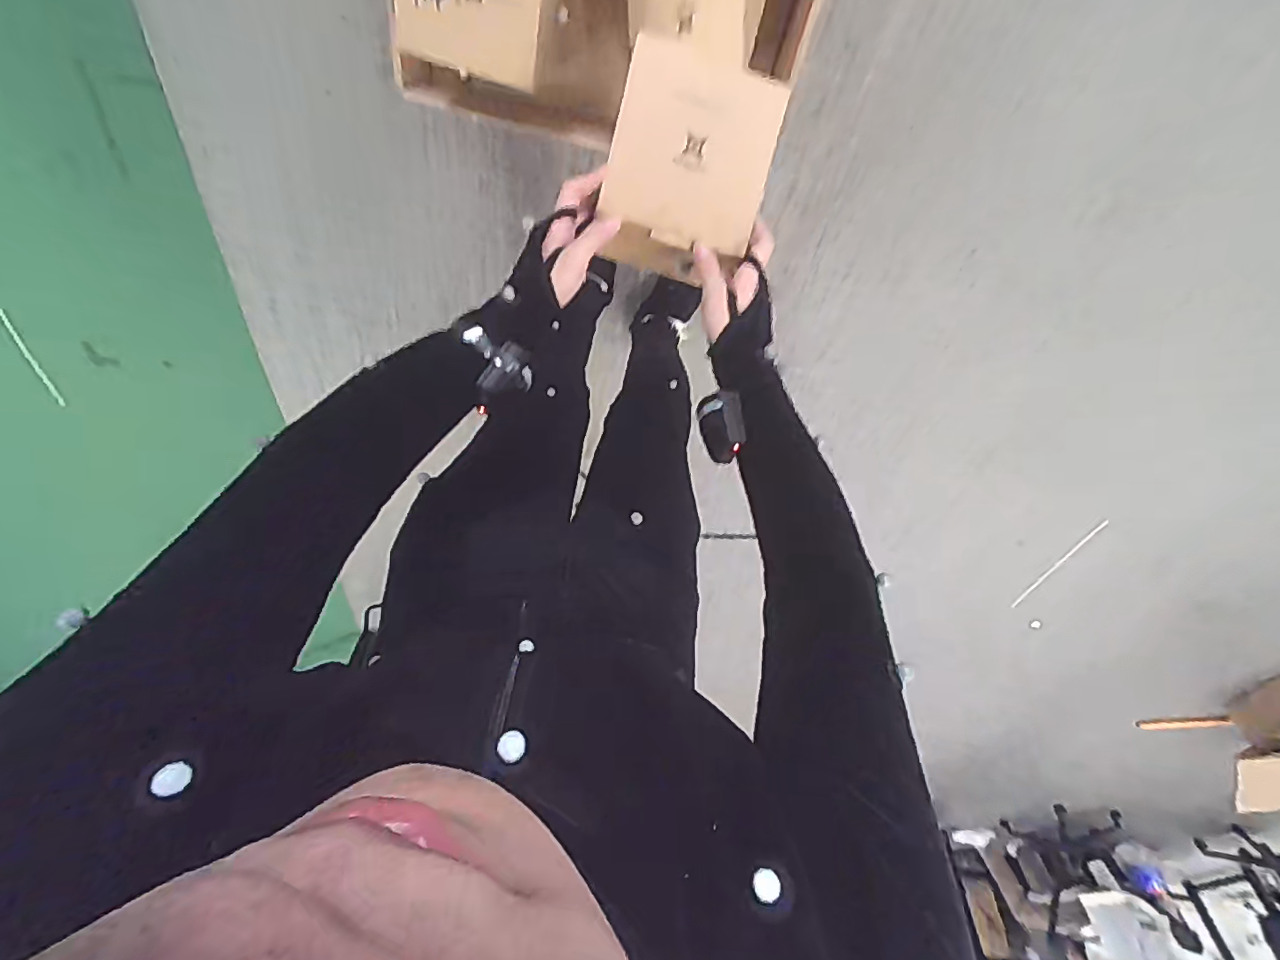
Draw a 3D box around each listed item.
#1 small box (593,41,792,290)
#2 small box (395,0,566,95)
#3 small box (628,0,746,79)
[{"bbox_3d":[0.045,-0.336,0.623,0.168,0.176,0.179,14,97,-10],"label":"small box"},{"bbox_3d":[-0.195,-0.624,0.692,0.179,0.176,0.168,13,132,-9],"label":"small box"},{"bbox_3d":[0.073,-0.700,0.823,0.168,0.176,0.179,-1,133,6],"label":"small box"}]
